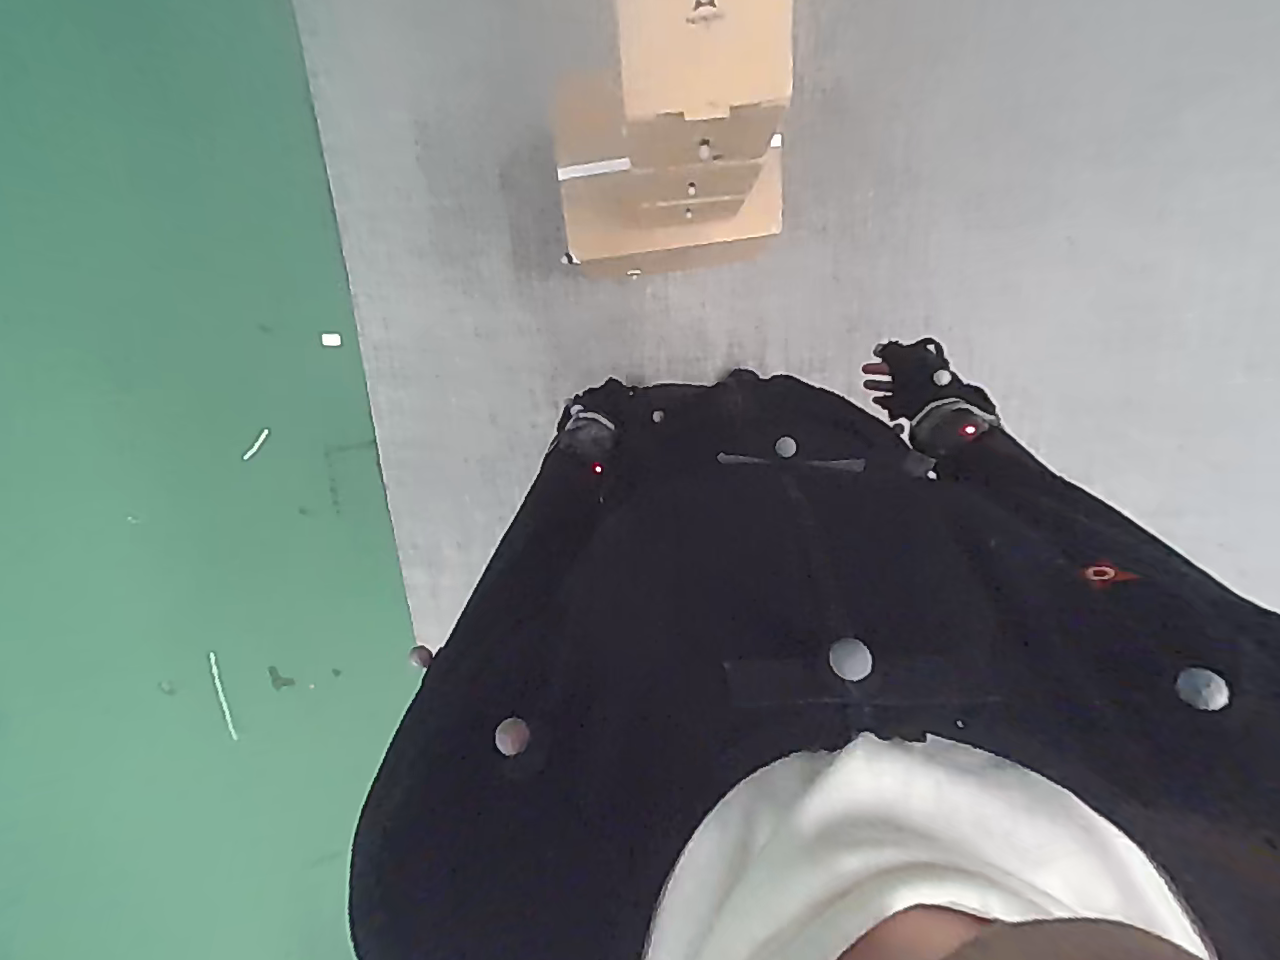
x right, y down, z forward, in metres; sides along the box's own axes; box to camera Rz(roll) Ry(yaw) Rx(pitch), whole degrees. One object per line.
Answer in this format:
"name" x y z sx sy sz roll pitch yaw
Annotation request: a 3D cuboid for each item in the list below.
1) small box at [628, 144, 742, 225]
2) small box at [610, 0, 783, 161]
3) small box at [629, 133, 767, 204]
"small box" 0.073 -0.537 0.909 0.179 0.176 0.168 -4 105 3
"small box" 0.060 -0.466 0.589 0.168 0.176 0.179 -2 106 5
"small box" 0.071 -0.498 0.750 0.179 0.176 0.168 -5 105 4
